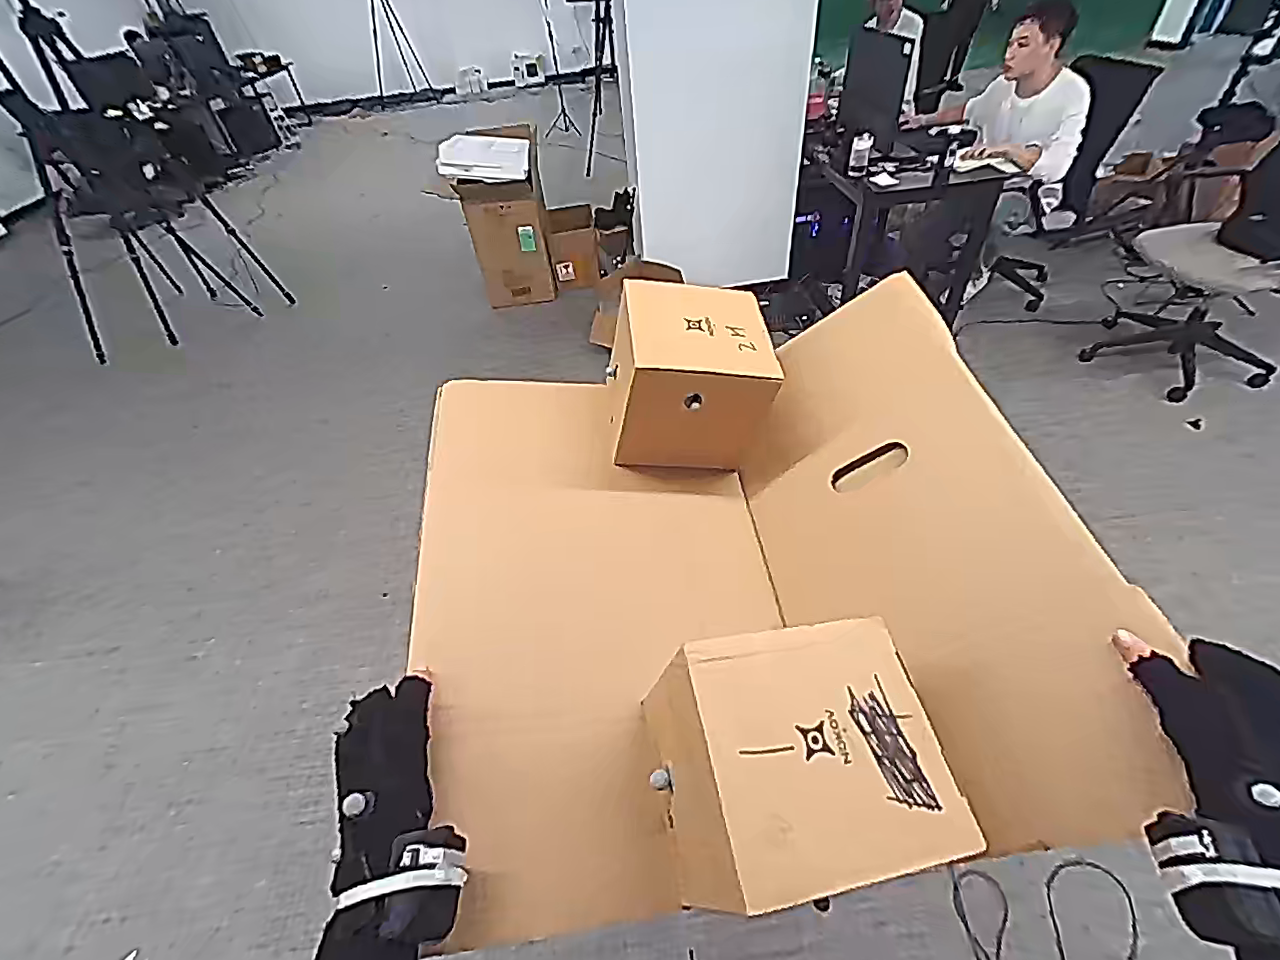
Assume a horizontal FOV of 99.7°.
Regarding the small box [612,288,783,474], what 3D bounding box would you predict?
[{"bbox_3d":[0.058,-0.122,0.704,0.179,0.176,0.168,3,53,-11],"label":"small box"}]
